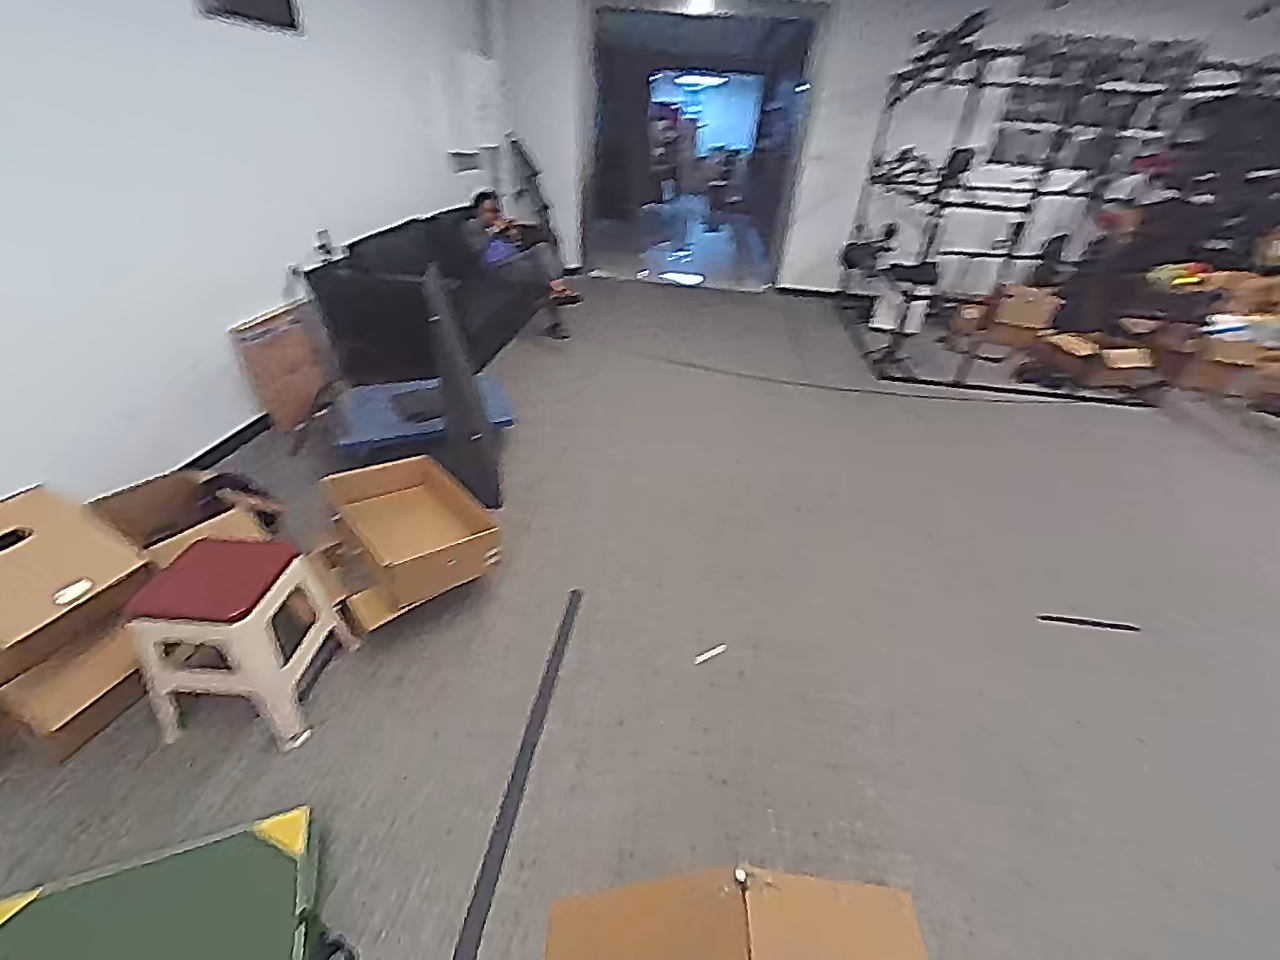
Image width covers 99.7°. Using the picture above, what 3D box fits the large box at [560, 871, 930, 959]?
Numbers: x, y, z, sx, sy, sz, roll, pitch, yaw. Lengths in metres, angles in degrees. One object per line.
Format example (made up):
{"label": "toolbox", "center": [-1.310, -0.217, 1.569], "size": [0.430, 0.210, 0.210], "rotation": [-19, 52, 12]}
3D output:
{"label": "large box", "center": [0.122, 0.709, 0.661], "size": [0.320, 0.408, 0.320], "rotation": [28, 41, -26]}
